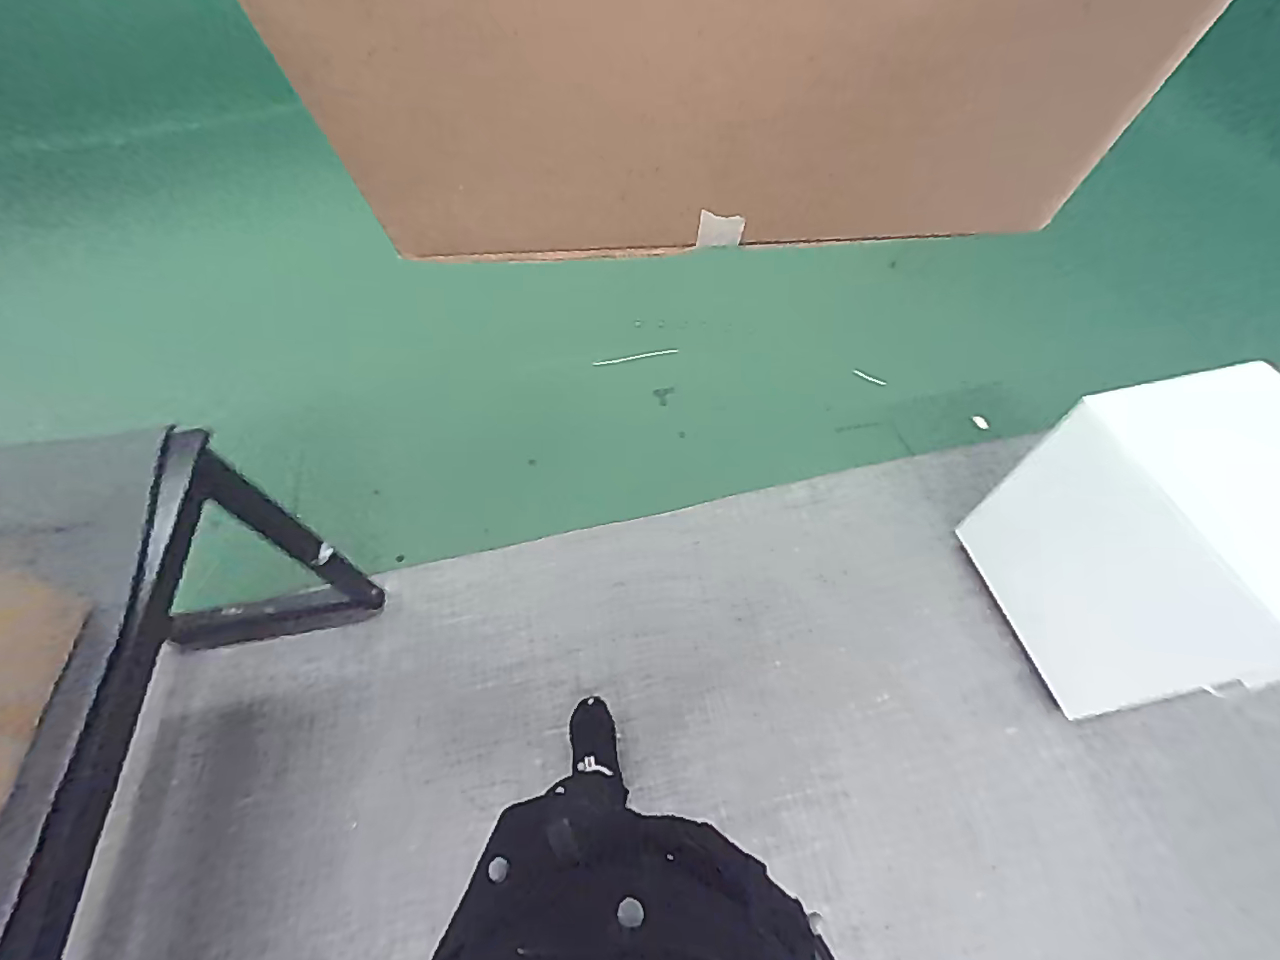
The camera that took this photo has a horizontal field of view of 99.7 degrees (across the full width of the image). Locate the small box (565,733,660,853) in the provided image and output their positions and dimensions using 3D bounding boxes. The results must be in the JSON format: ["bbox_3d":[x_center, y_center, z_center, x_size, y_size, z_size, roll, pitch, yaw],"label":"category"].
[{"bbox_3d":[-0.064,0.678,1.190,0.168,0.176,0.179,14,72,-5],"label":"small box"}]
